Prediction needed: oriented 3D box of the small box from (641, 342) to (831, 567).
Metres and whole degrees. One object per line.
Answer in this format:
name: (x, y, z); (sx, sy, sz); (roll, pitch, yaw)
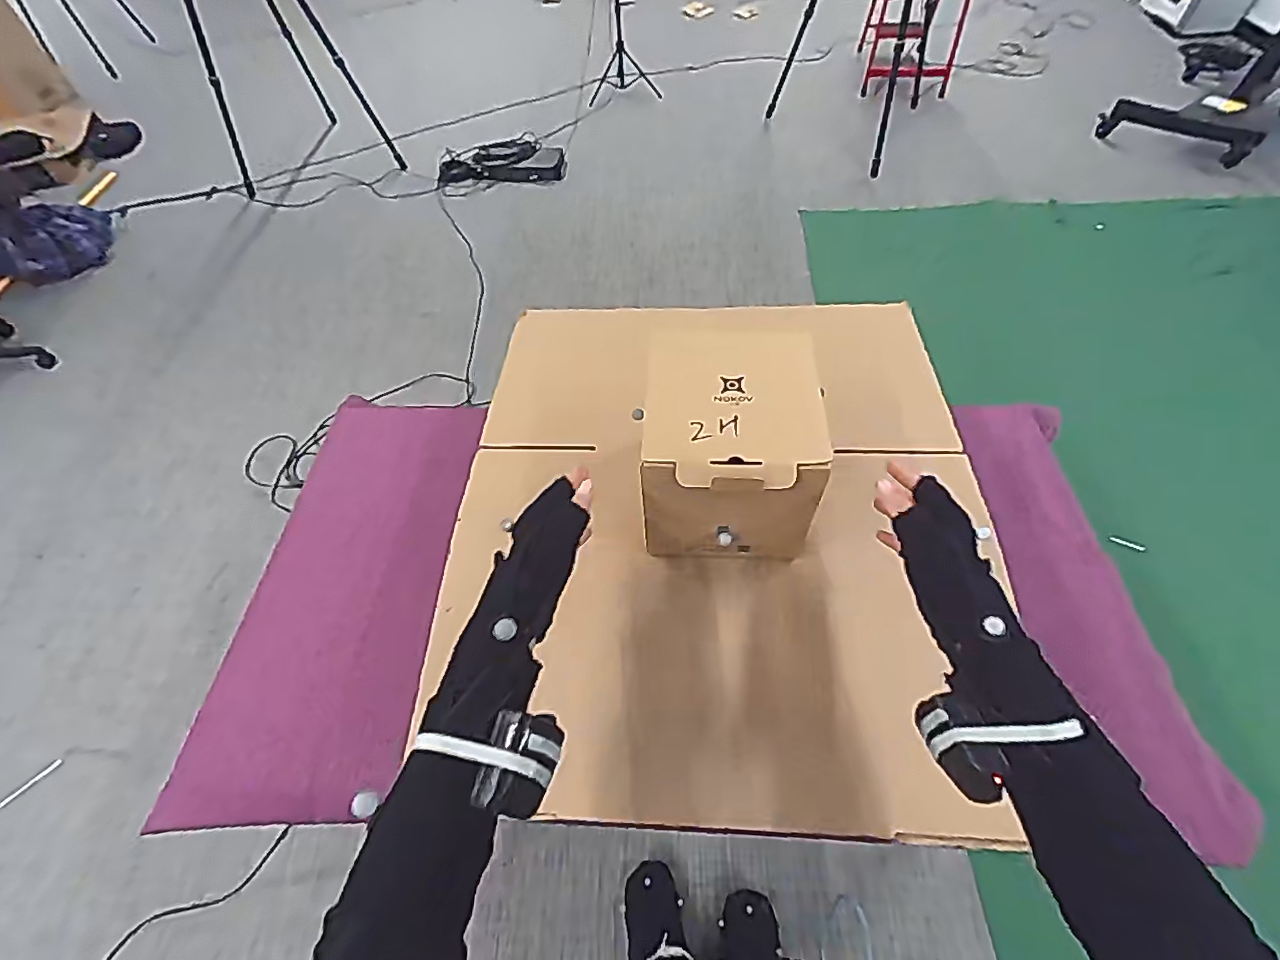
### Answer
small box: (0.092, -0.026, 0.578); (0.168, 0.176, 0.179); (1, 55, 5)
